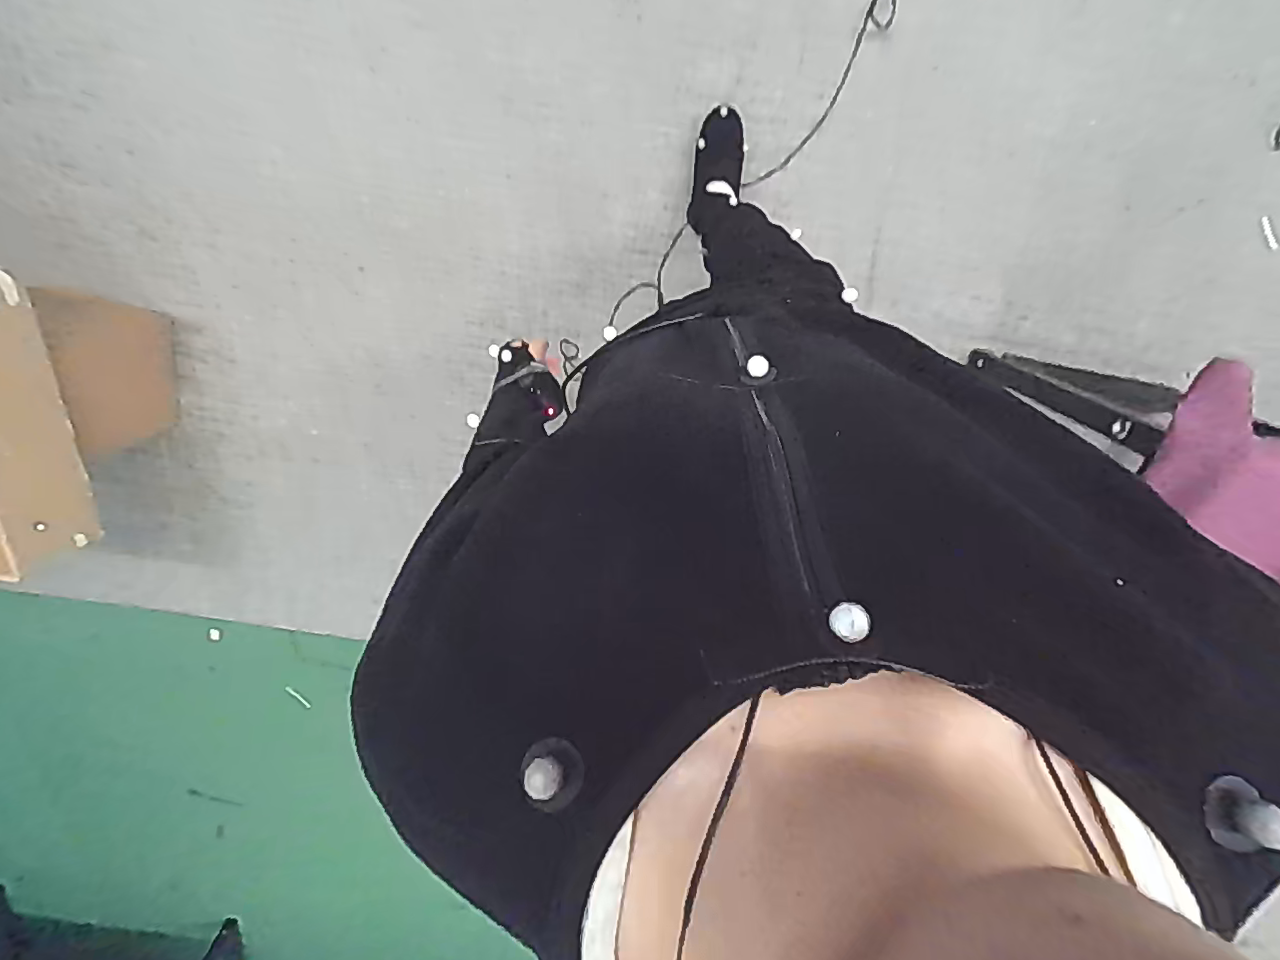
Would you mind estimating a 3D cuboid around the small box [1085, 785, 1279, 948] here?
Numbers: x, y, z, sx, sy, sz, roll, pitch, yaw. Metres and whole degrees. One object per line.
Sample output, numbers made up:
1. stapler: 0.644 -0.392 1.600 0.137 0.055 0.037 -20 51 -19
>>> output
1. small box: 0.968 0.687 0.973 0.168 0.176 0.179 14 115 -4
